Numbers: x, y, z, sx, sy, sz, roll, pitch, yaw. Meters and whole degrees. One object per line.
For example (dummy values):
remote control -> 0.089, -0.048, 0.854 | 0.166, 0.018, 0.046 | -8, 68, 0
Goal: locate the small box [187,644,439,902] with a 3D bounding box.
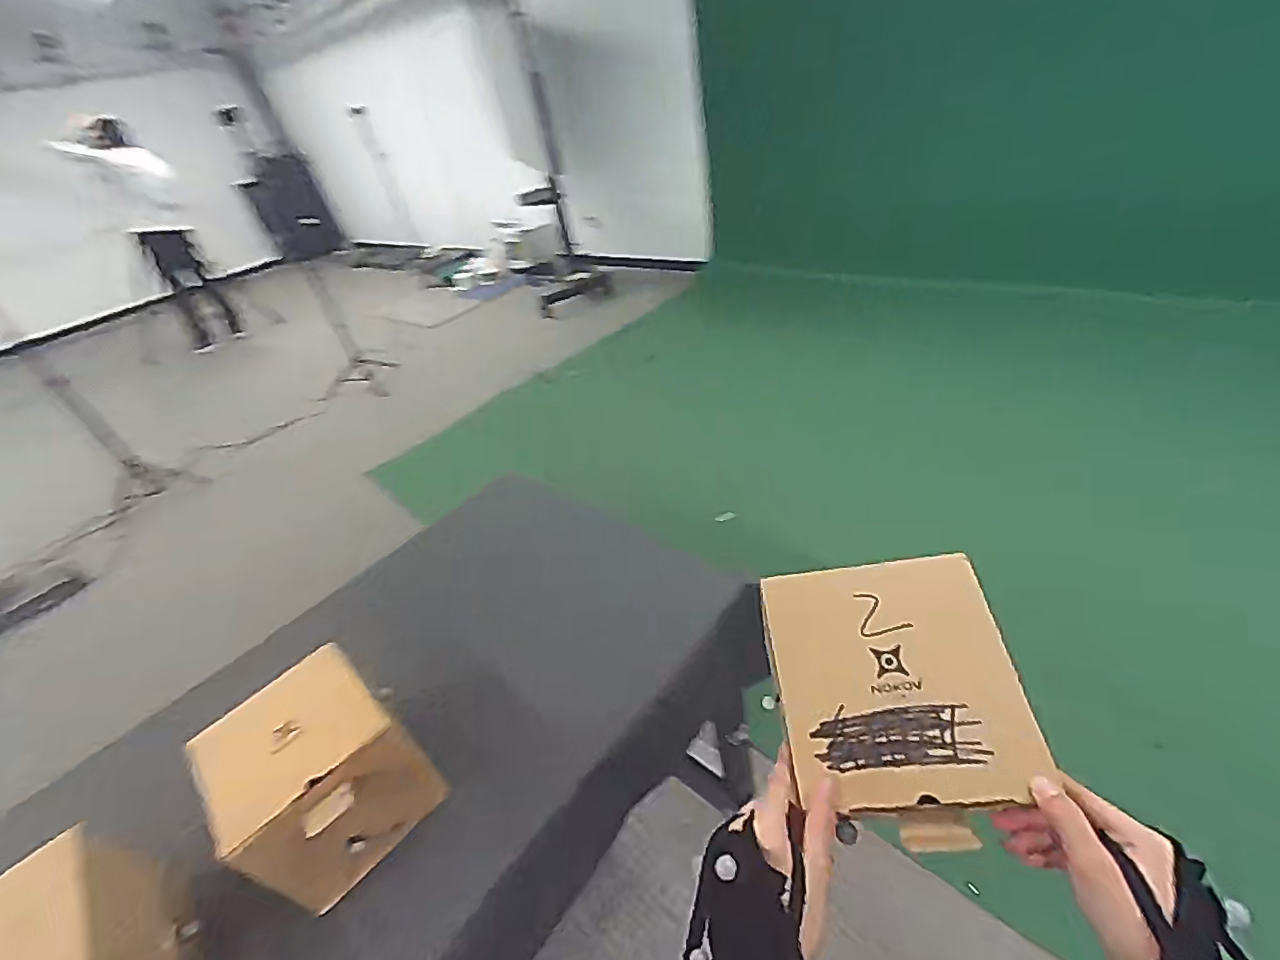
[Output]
small box -> -0.370, 0.336, 0.630 | 0.179, 0.176, 0.168 | 23, 49, 38

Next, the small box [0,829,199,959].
small box -> -0.552, 0.480, 0.491 | 0.168, 0.176, 0.179 | 25, 49, 39
